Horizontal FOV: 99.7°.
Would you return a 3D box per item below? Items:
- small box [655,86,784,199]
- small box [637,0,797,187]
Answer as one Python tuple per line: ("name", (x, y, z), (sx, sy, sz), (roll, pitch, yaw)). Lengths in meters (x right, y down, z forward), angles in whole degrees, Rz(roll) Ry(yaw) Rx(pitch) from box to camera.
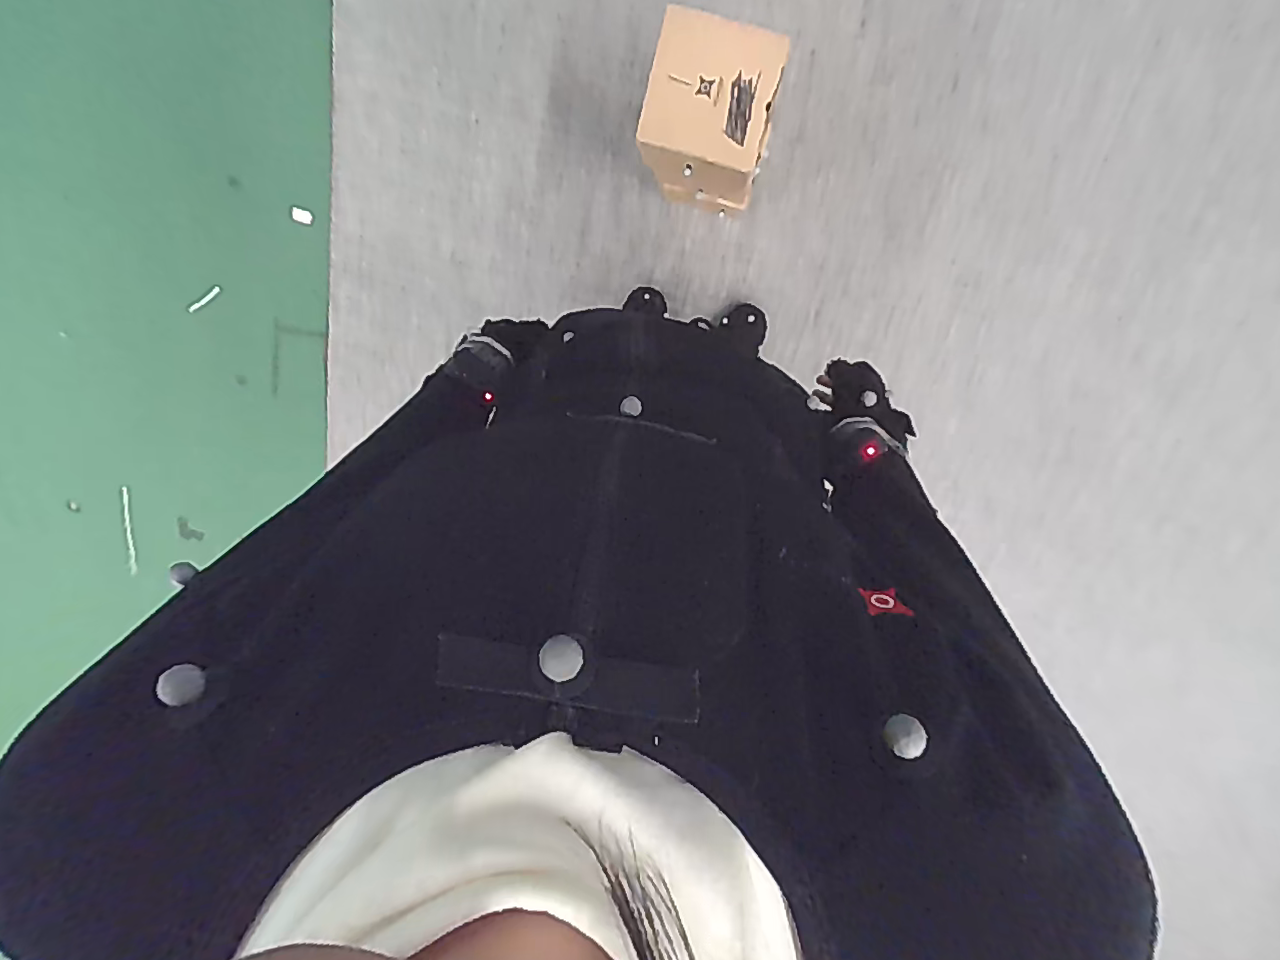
("small box", (0.138, -0.620, 0.971), (0.179, 0.176, 0.168), (17, 111, 1))
("small box", (0.110, -0.564, 0.815), (0.179, 0.176, 0.168), (20, 109, 0))
